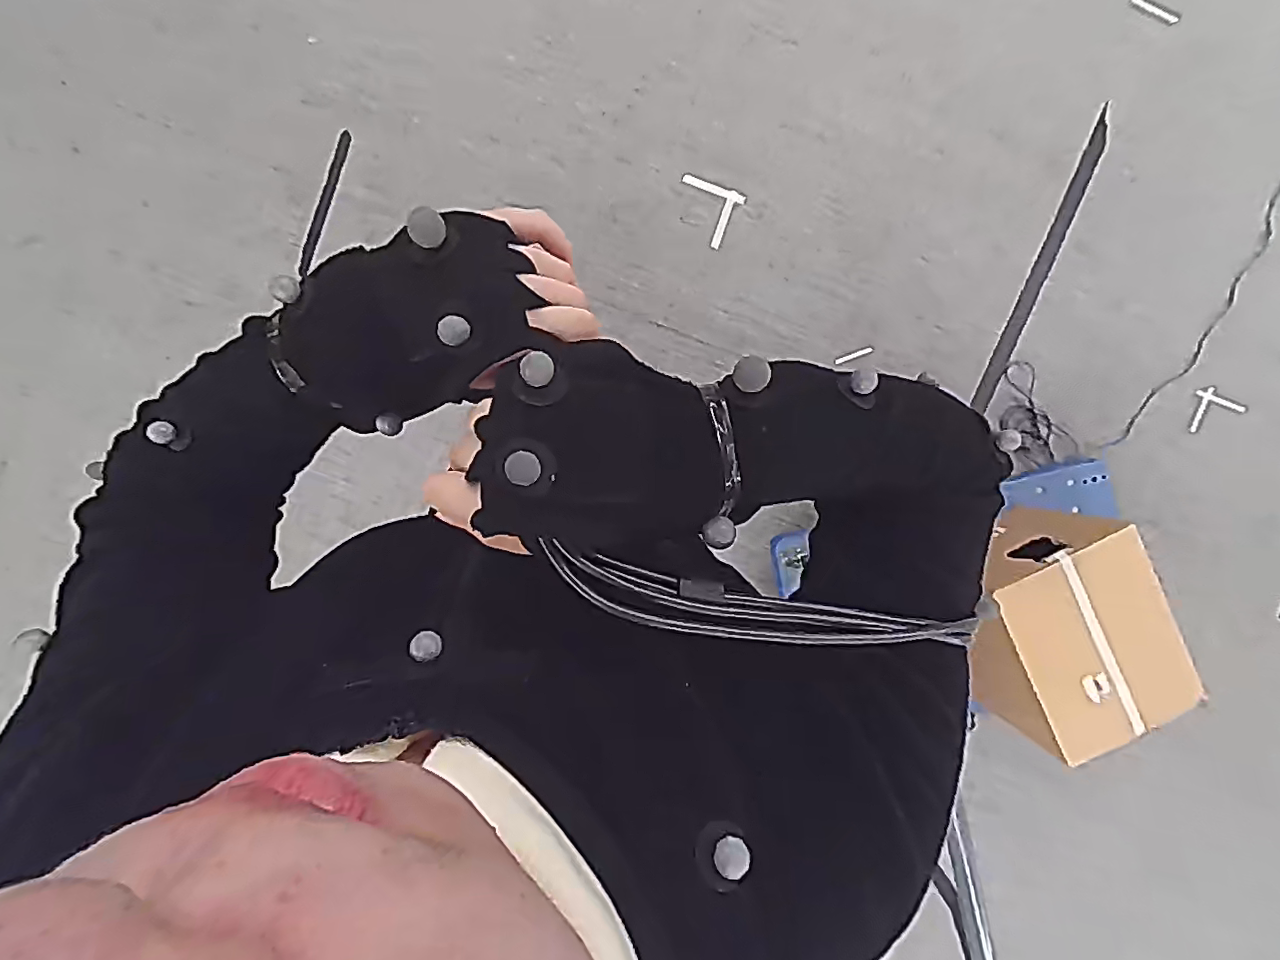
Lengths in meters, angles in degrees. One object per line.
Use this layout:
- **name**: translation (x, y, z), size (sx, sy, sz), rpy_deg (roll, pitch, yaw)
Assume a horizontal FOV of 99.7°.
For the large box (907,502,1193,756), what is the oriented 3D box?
- **large box**: translation (0.888, 0.305, 1.219), size (0.320, 0.320, 0.408), rpy_deg (-26, 96, 0)
